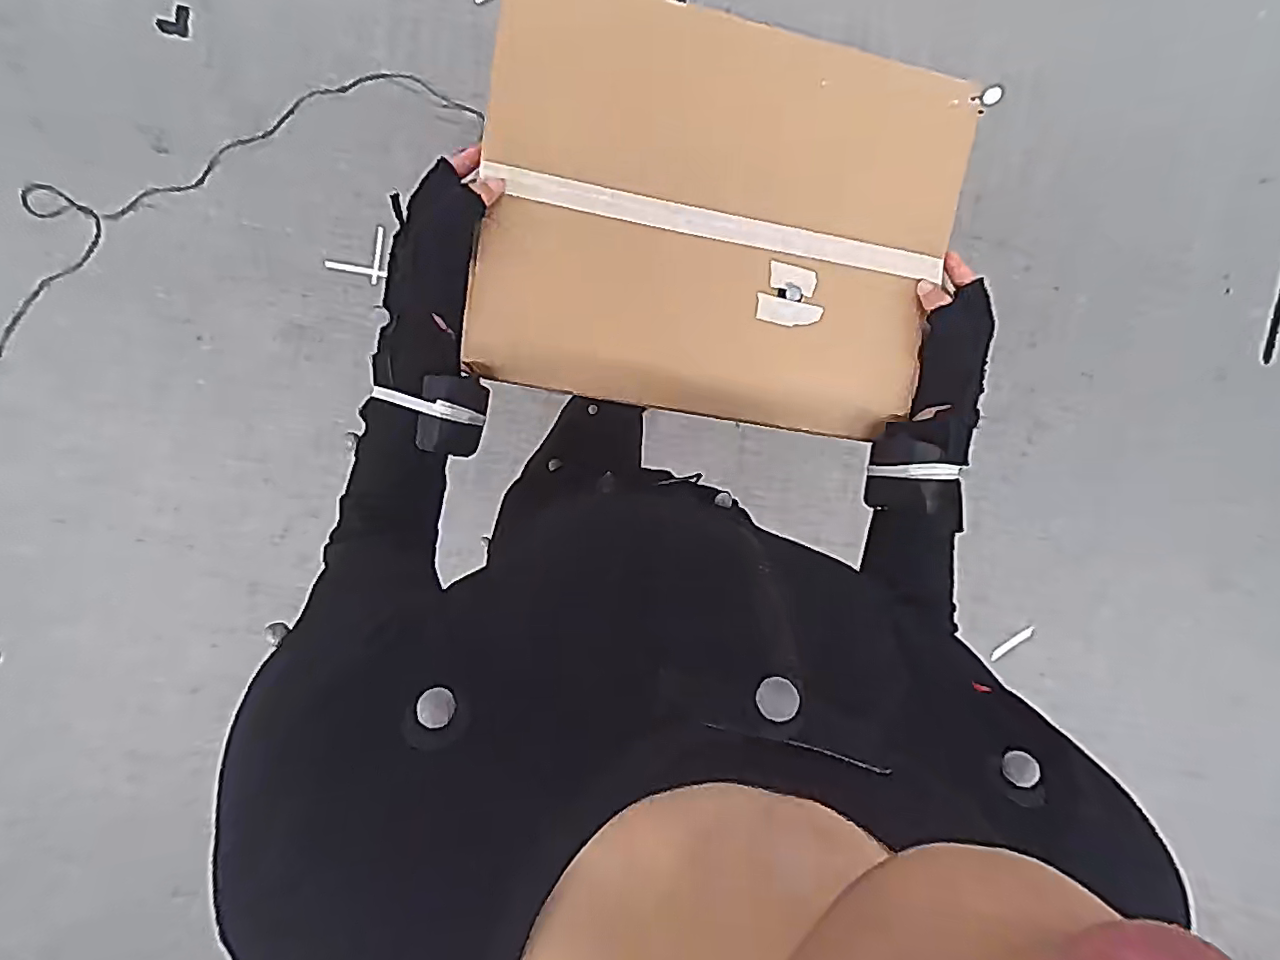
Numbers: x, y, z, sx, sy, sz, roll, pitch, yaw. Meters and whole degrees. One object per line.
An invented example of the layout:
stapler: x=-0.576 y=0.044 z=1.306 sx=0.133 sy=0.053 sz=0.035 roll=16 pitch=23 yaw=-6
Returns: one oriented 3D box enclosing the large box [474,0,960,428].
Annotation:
large box: x=0.050 y=-0.247 z=0.617 sx=0.408 sy=0.320 sz=0.320 roll=8 pitch=100 yaw=-9
